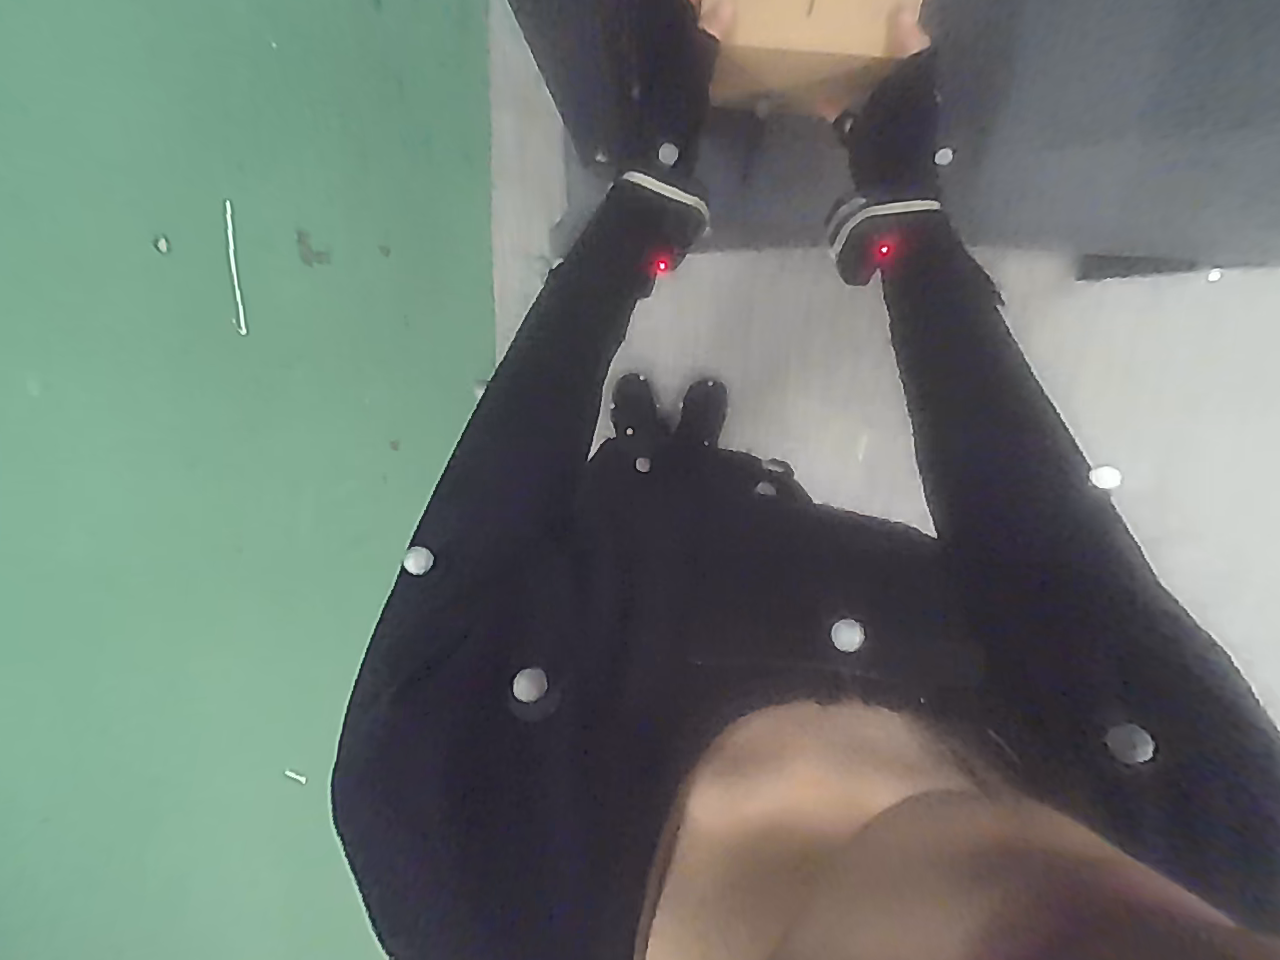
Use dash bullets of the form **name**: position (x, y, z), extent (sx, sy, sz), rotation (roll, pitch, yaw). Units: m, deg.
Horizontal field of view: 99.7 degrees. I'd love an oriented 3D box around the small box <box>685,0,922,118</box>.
- **small box**: position (0.131, -0.437, 0.459), extent (0.168, 0.176, 0.179), rotation (3, 111, -2)
